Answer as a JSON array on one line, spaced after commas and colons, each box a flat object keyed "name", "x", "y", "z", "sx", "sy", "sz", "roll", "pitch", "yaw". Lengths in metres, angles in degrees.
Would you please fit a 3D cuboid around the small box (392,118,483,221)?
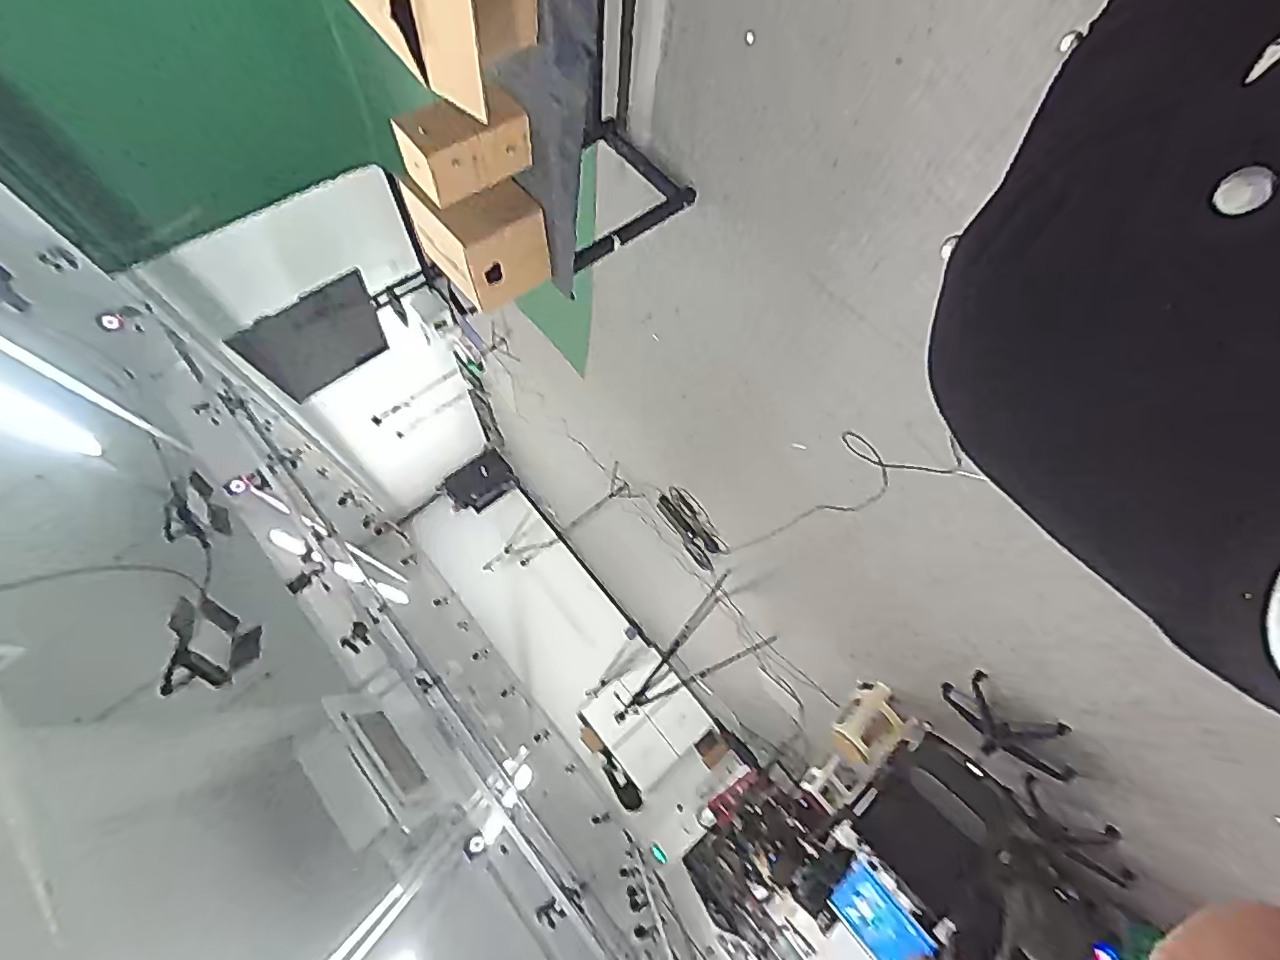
[{"name": "small box", "x": -0.571, "y": -0.899, "z": 1.560, "sx": 0.179, "sy": 0.176, "sz": 0.168, "roll": 49, "pitch": 162, "yaw": 12}]
